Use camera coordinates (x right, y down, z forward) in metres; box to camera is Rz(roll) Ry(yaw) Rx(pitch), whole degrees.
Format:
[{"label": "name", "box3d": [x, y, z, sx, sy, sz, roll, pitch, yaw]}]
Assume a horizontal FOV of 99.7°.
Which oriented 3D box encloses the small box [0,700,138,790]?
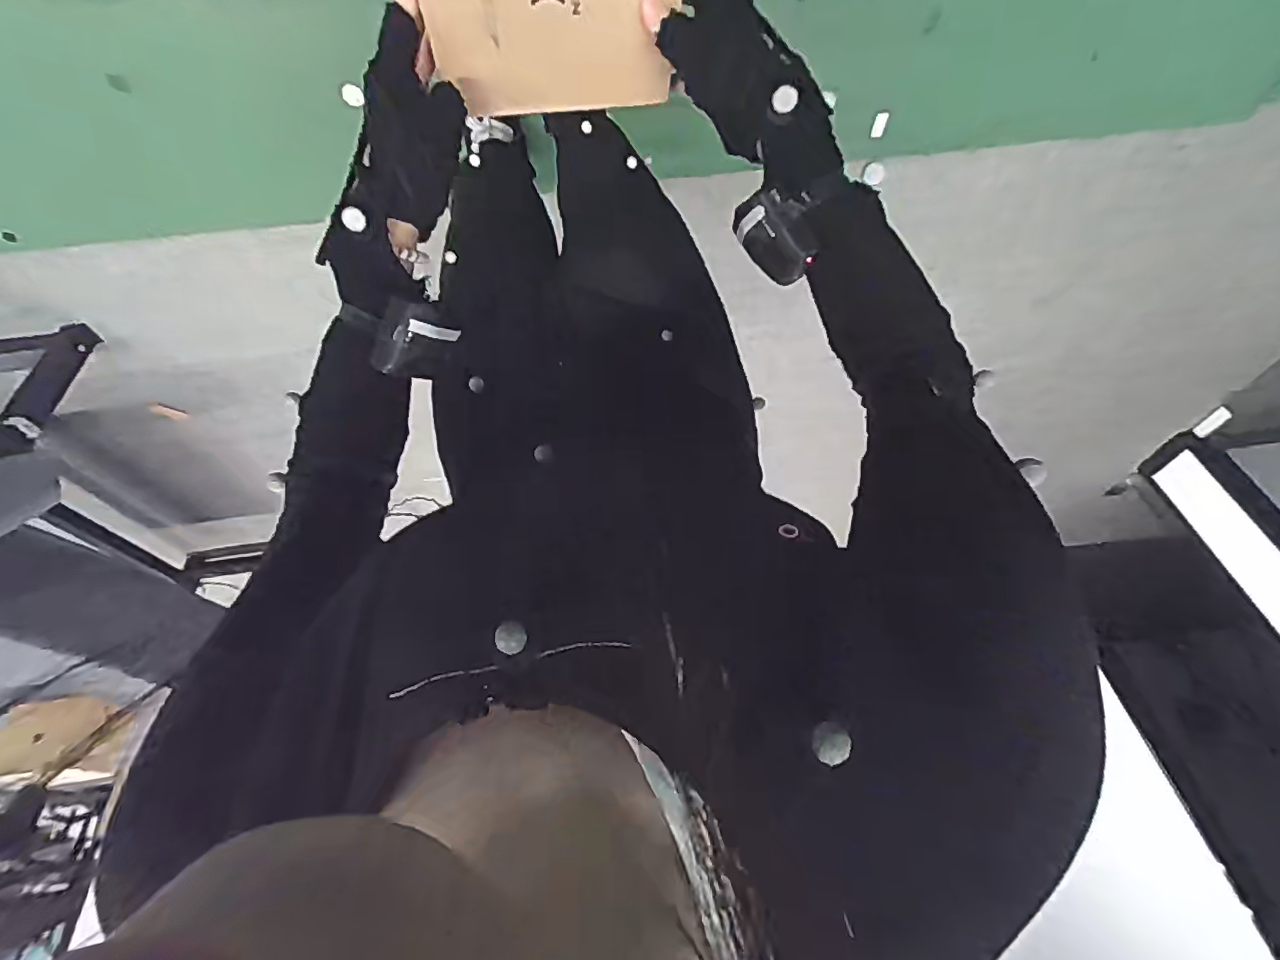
[{"label": "small box", "box3d": [-1.448, 0.672, 1.372, 0.179, 0.176, 0.168, -8, 146, -3]}]
